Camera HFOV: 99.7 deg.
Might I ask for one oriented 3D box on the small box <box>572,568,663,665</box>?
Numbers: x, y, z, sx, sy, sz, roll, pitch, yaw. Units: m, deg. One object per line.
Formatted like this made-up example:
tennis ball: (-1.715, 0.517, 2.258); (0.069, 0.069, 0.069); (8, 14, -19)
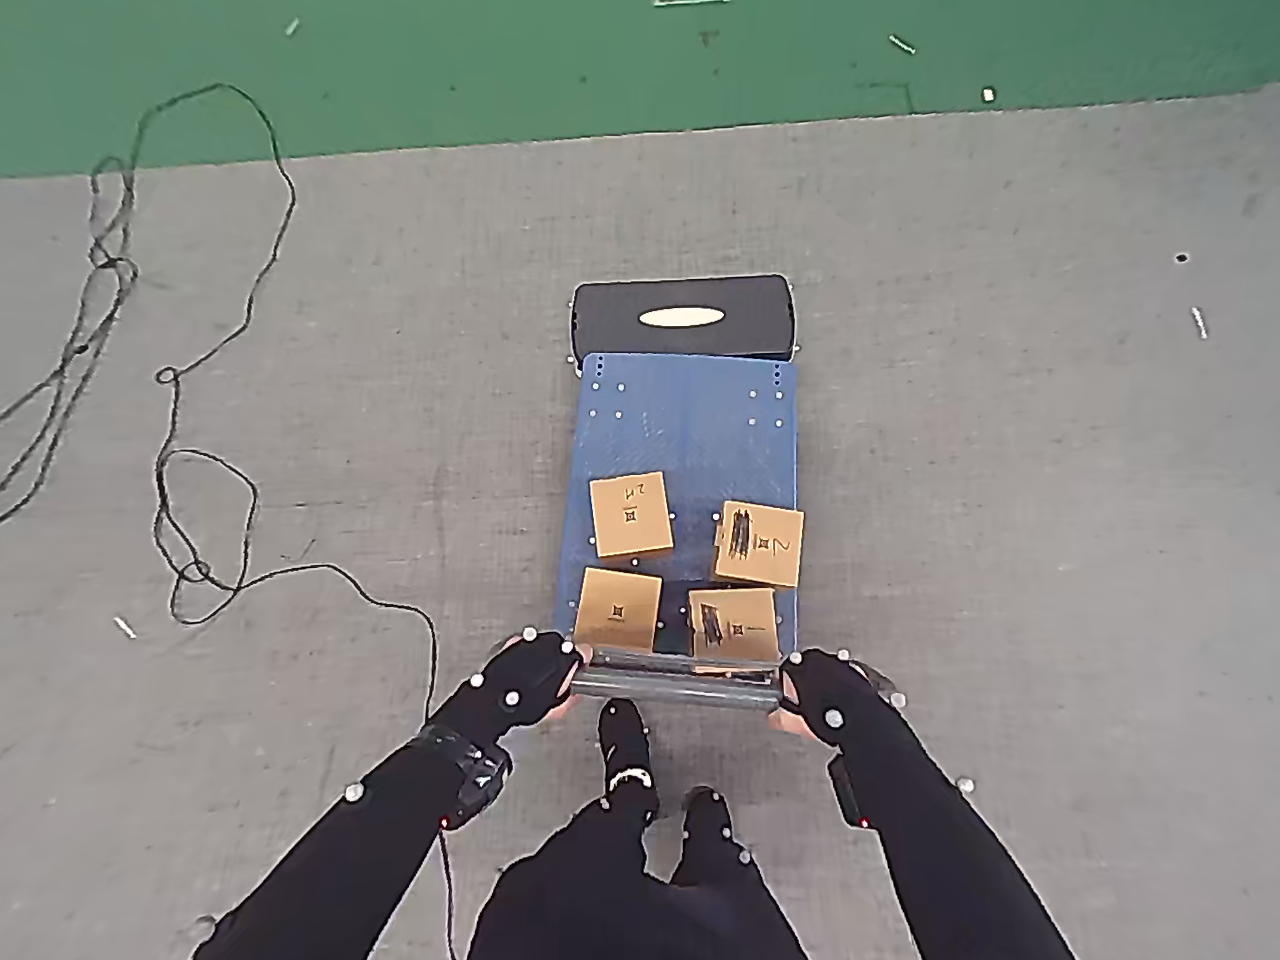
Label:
small box: (-0.045, 0.304, 1.199); (0.168, 0.176, 0.179); (8, 74, 3)

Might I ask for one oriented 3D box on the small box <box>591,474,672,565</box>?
small box: (-0.017, 0.100, 1.259); (0.168, 0.176, 0.179); (-7, 73, -1)
